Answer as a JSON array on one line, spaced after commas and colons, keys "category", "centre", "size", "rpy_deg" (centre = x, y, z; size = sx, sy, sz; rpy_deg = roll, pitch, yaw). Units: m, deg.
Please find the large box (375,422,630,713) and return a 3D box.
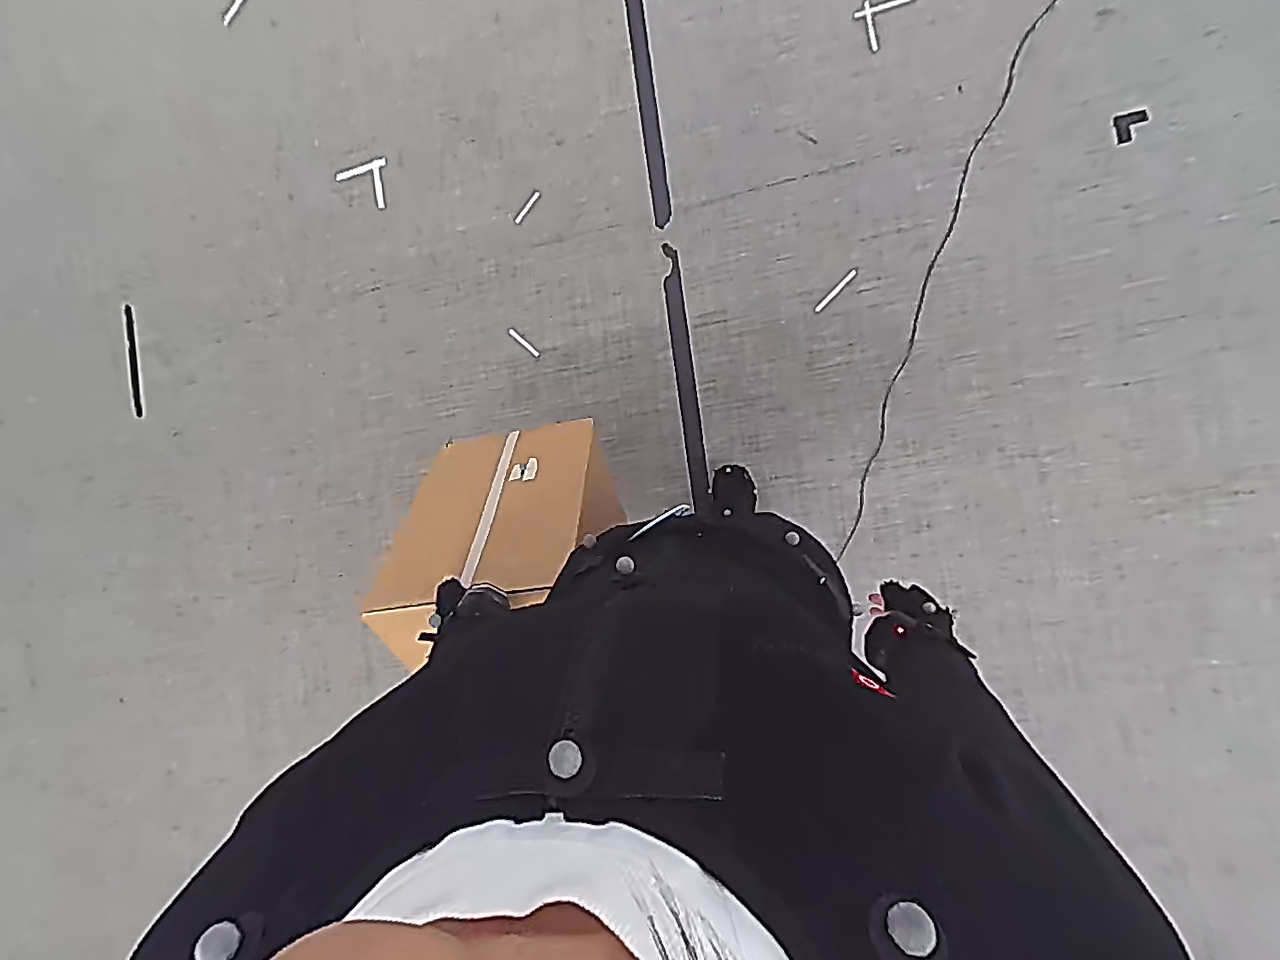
[{"category": "large box", "centre": [-0.202, 0.151, 0.994], "size": [0.320, 0.408, 0.320], "rpy_deg": [-9, 128, 8]}]
